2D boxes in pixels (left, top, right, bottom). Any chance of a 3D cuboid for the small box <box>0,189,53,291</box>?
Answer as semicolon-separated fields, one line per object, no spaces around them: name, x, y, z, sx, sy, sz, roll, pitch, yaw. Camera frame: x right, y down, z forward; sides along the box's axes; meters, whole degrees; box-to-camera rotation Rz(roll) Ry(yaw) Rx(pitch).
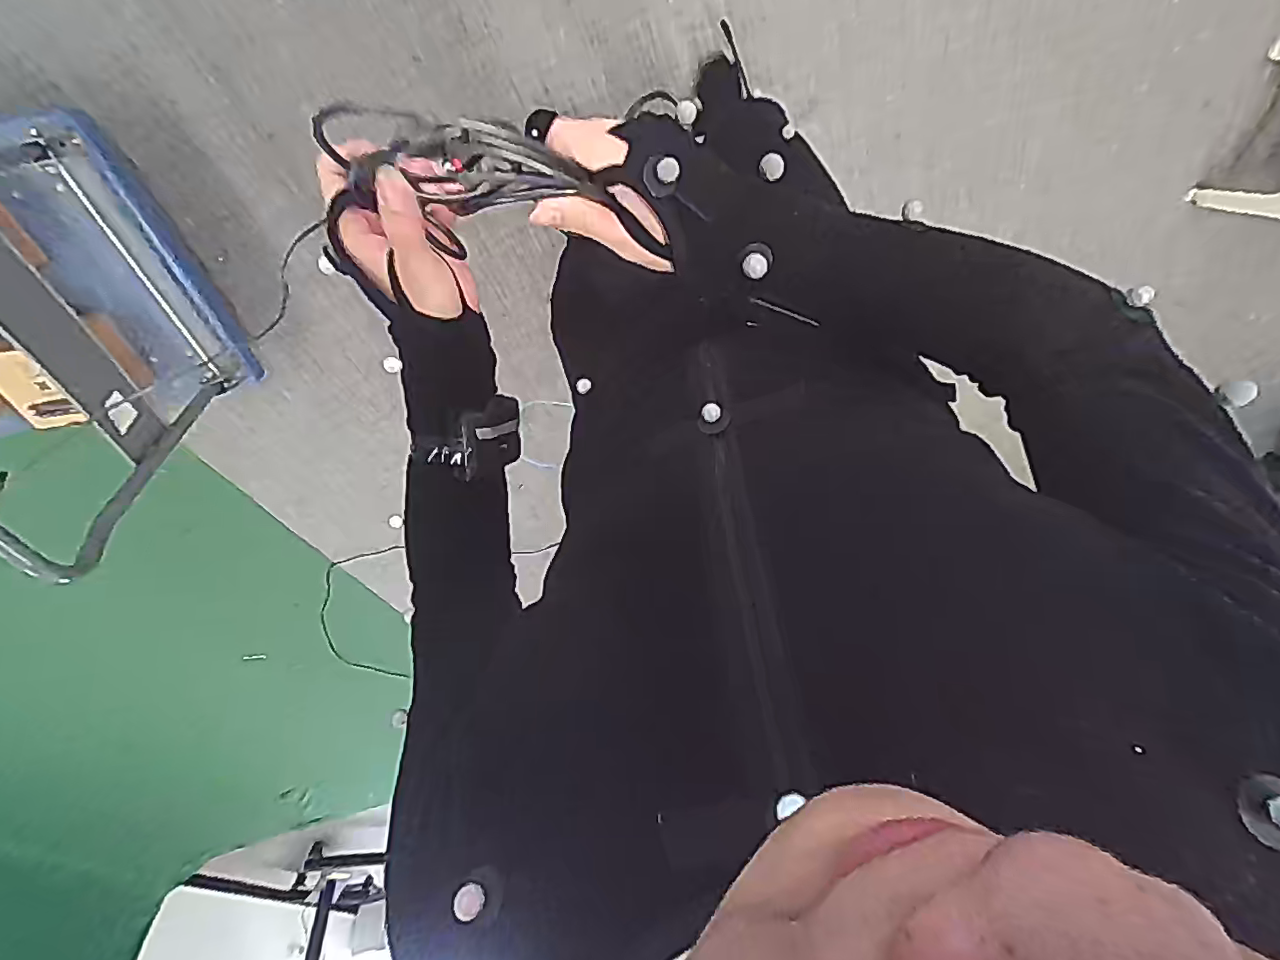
small box;-1.266;-0.435;0.986;0.179;0.176;0.168;-11;132;-2

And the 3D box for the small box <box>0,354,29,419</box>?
small box;-1.482;-0.202;1.148;0.179;0.176;0.168;-14;131;1
